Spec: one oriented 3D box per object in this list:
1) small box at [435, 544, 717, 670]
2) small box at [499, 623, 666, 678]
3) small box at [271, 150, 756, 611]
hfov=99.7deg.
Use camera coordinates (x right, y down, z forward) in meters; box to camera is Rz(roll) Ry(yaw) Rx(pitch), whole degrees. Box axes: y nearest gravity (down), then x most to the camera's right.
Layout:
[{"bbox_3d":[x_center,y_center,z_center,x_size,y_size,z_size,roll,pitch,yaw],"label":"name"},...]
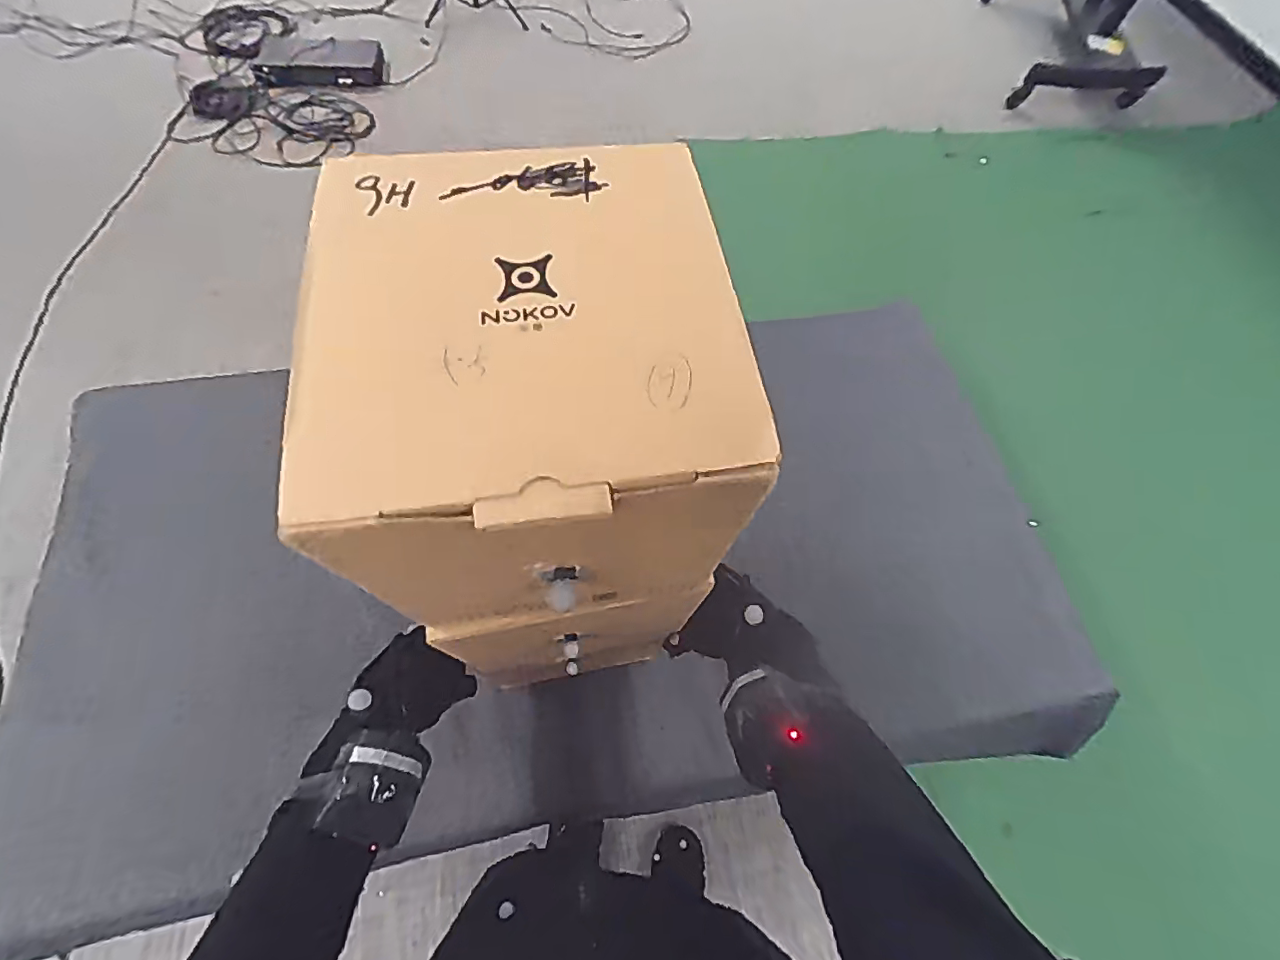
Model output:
[{"bbox_3d":[-0.060,0.042,0.430,0.179,0.176,0.168,-12,67,-11],"label":"small box"},{"bbox_3d":[-0.079,0.107,0.580,0.179,0.176,0.168,-9,66,-10],"label":"small box"},{"bbox_3d":[-0.053,-0.034,0.285,0.168,0.176,0.179,-6,67,-6],"label":"small box"}]
